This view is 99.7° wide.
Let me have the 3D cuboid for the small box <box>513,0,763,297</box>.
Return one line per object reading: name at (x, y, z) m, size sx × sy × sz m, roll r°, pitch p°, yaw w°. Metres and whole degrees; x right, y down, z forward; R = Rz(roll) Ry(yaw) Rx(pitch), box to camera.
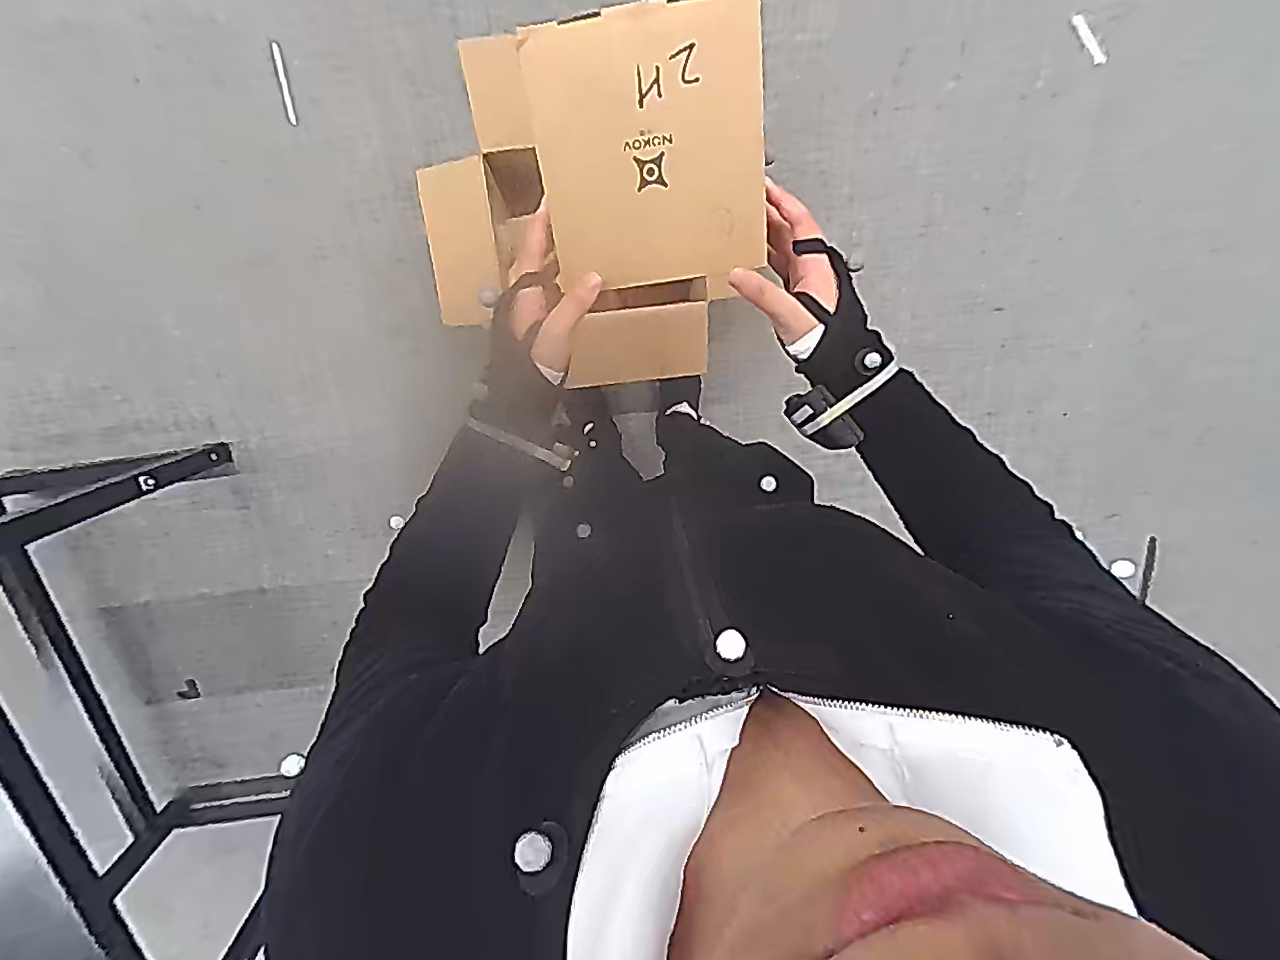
small box at (0.010, -0.269, 0.458) m, size 0.168 × 0.176 × 0.179 m, roll -6°, pitch 119°, yaw 5°
